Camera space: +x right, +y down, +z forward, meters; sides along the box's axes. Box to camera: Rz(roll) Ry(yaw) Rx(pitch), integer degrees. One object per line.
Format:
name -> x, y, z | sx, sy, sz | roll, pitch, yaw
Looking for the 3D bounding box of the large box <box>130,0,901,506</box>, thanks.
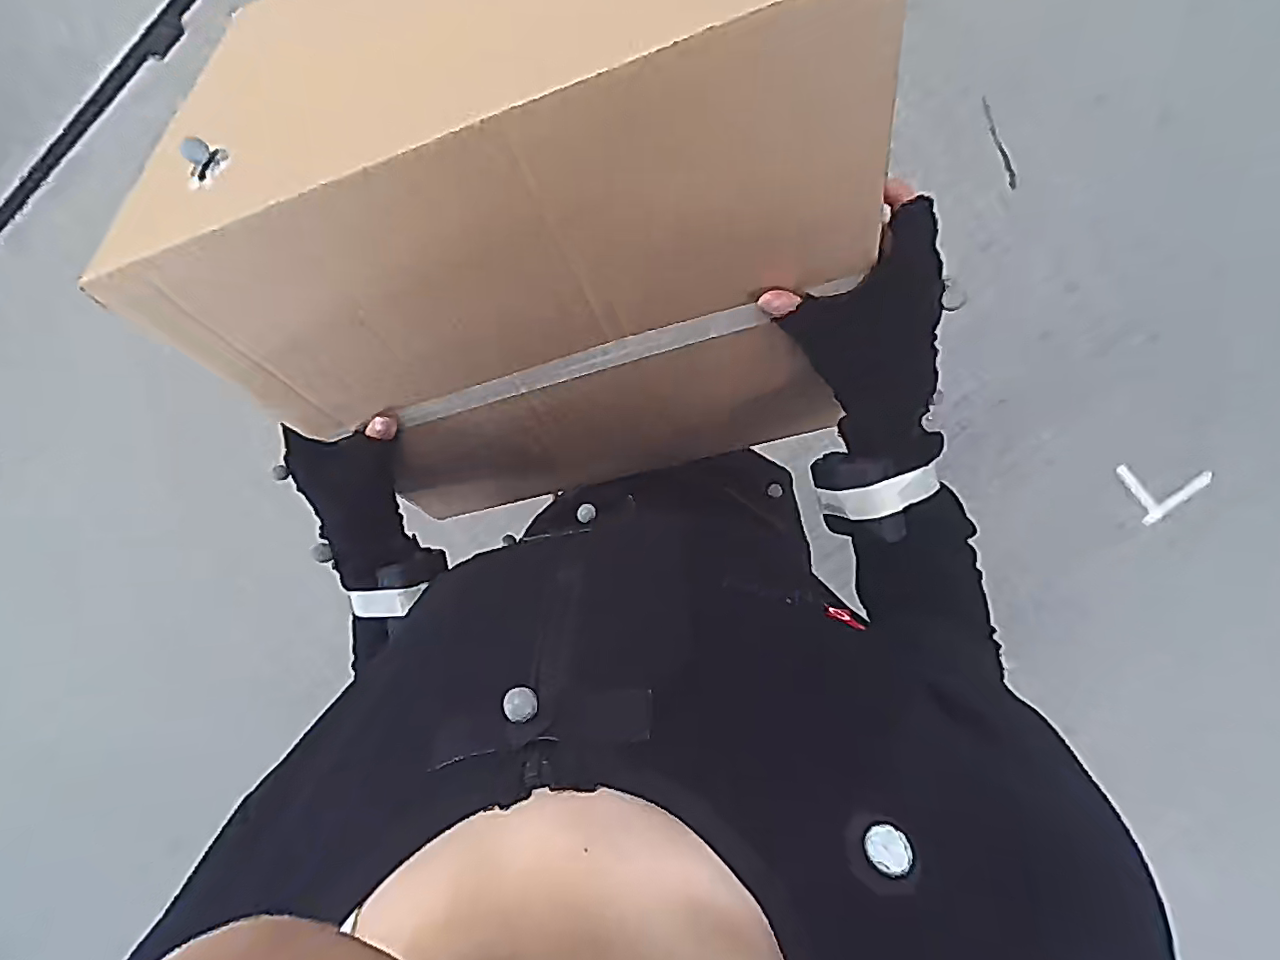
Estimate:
large box -> -0.060, -0.214, 0.447 | 0.408, 0.320, 0.320 | -12, 61, 11
